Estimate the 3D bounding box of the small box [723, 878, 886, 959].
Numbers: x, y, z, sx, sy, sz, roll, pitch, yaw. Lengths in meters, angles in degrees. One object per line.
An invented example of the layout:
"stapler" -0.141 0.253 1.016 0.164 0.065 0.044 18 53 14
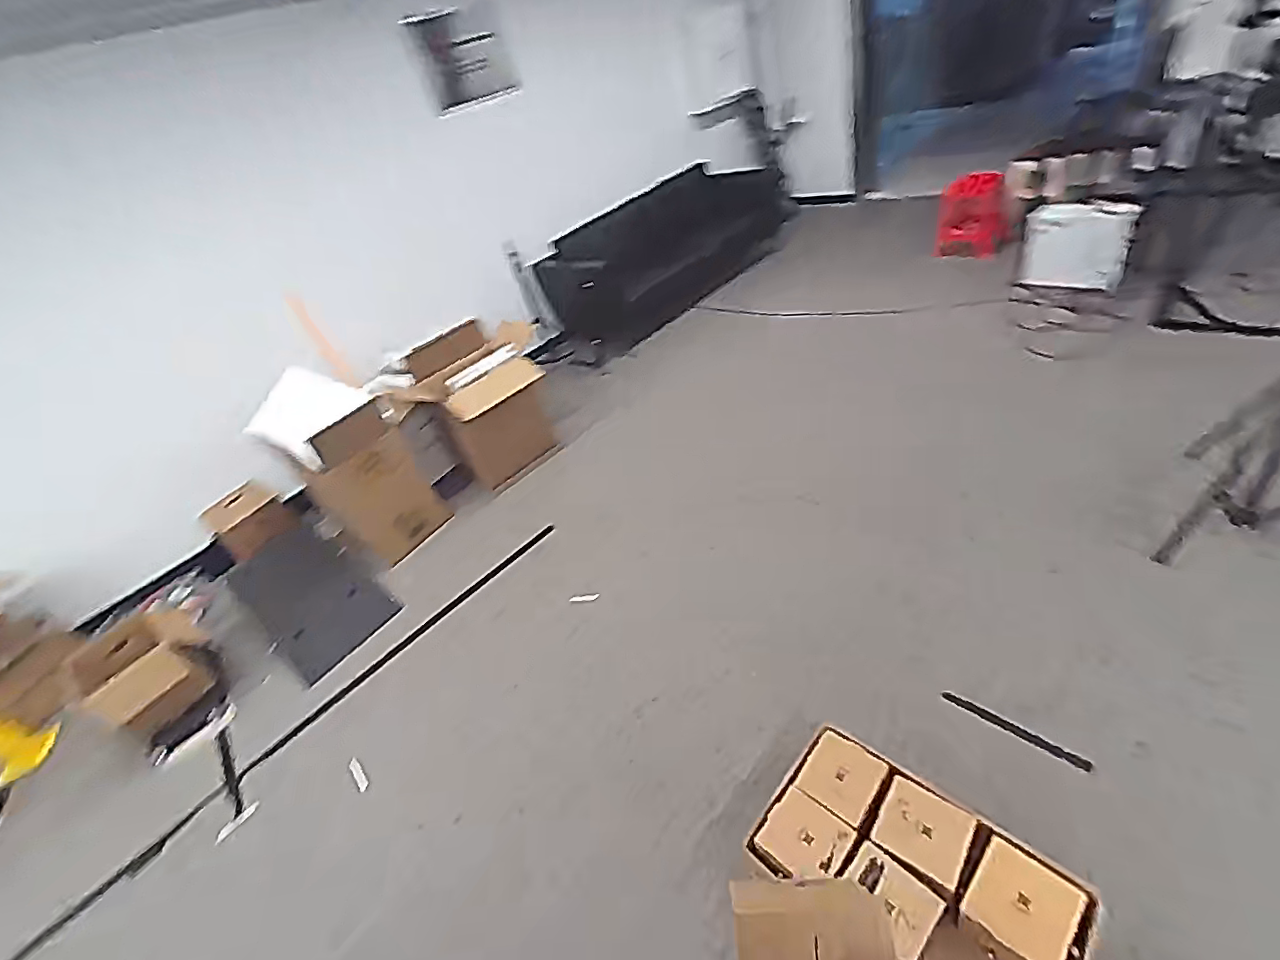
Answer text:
"small box" 0.187 0.581 0.619 0.168 0.176 0.179 -5 62 4
